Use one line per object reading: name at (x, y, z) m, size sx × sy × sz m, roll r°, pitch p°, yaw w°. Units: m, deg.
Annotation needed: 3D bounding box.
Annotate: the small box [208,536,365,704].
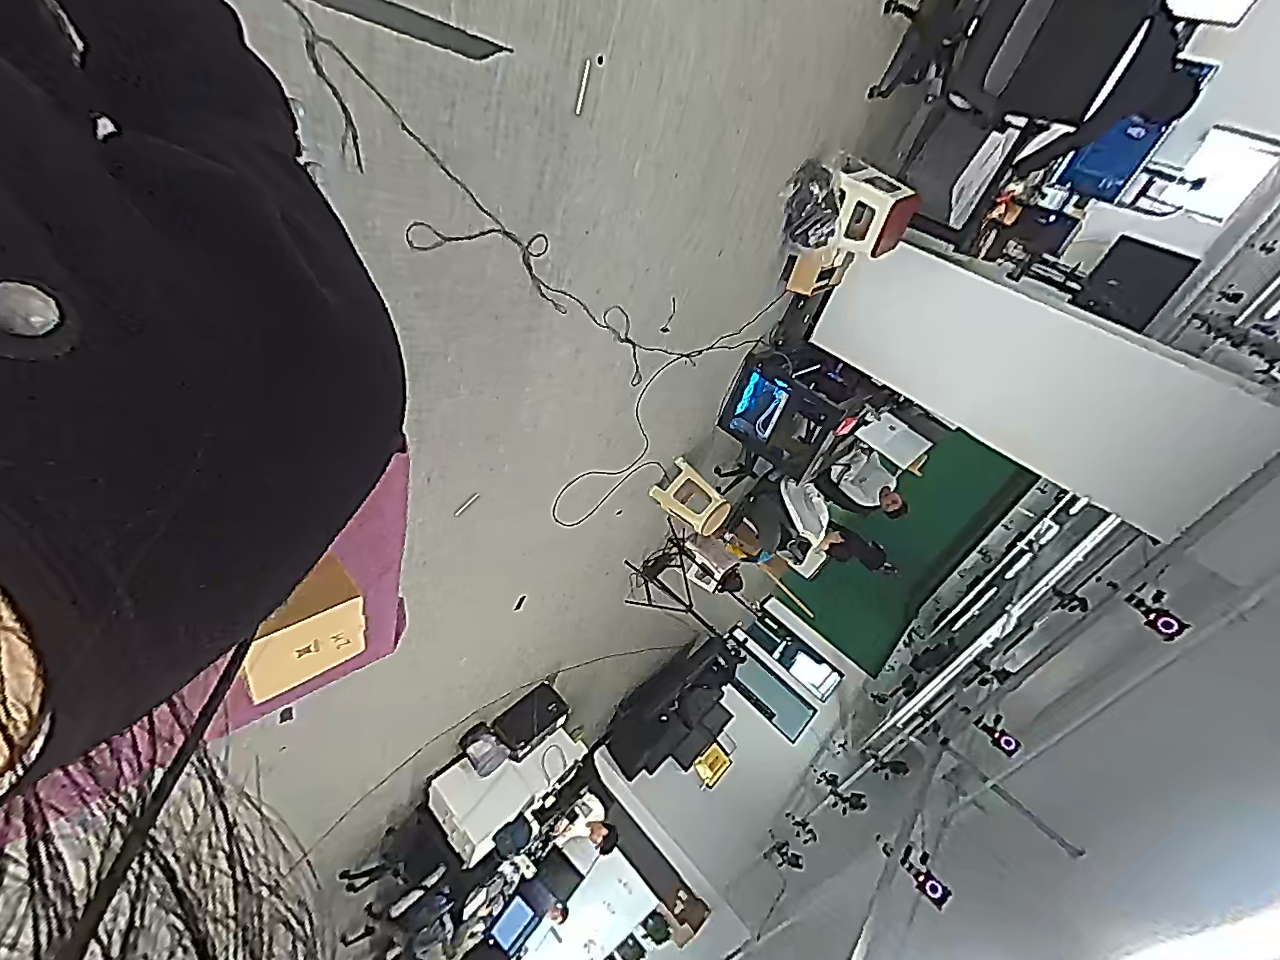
small box at (-0.586, 0.224, 0.902) m, size 0.179 × 0.176 × 0.168 m, roll -24°, pitch 146°, yaw -44°
